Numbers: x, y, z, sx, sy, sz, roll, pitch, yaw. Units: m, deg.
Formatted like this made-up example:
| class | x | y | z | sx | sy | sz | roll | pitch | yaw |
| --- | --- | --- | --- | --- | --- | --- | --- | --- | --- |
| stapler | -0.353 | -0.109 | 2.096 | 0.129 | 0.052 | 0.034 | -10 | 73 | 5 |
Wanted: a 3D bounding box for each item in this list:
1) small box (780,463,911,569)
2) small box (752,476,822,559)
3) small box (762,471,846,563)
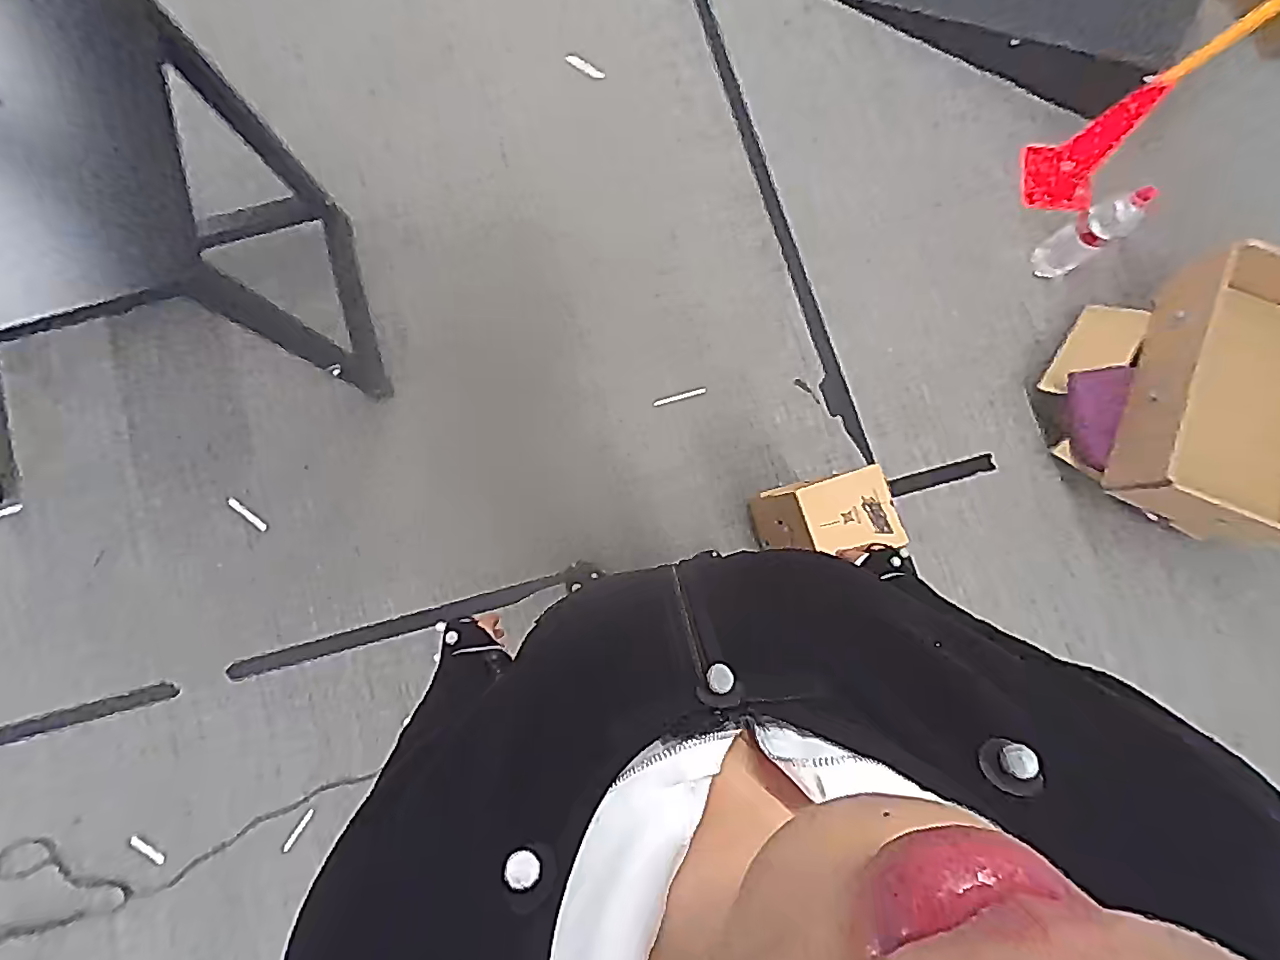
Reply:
| class | x | y | z | sx | sy | sz | roll | pitch | yaw |
| --- | --- | --- | --- | --- | --- | --- | --- | --- | --- |
| small box | 0.409 | 0.074 | 1.104 | 0.179 | 0.176 | 0.168 | -18 | 84 | -1 |
| small box | 0.410 | 0.102 | 1.432 | 0.168 | 0.176 | 0.179 | -16 | 83 | -2 |
| small box | 0.408 | 0.087 | 1.269 | 0.179 | 0.176 | 0.168 | -18 | 84 | -2 |
